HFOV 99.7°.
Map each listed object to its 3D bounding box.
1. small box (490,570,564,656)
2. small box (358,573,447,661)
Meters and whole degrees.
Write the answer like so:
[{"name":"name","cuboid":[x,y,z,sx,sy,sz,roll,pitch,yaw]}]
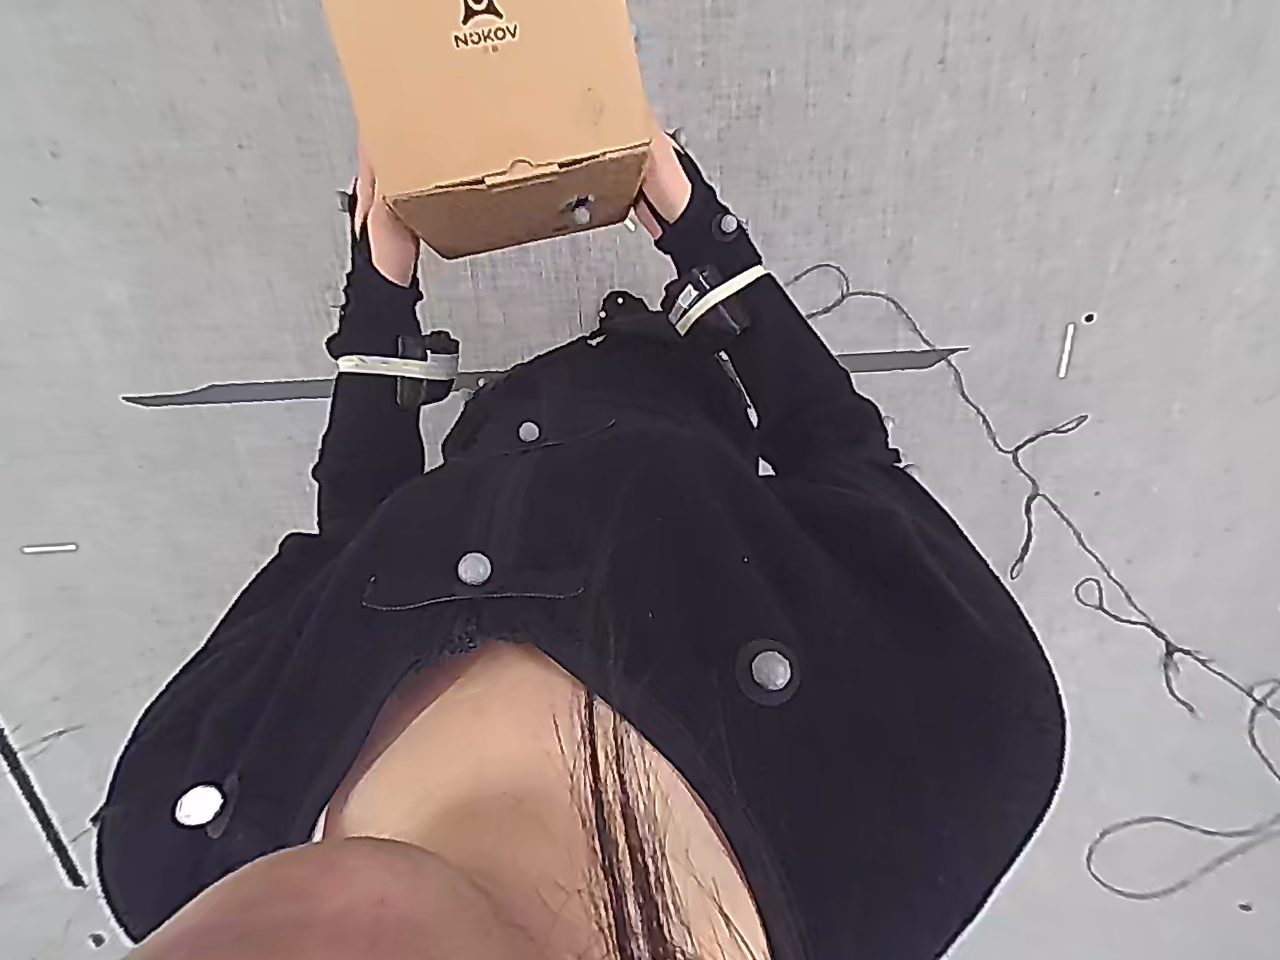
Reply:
[{"name":"small box","cuboid":[-0.316,0.377,1.545,0.168,0.176,0.179,-4,107,0]},{"name":"small box","cuboid":[-0.673,0.384,1.543,0.179,0.176,0.168,12,107,-6]}]
